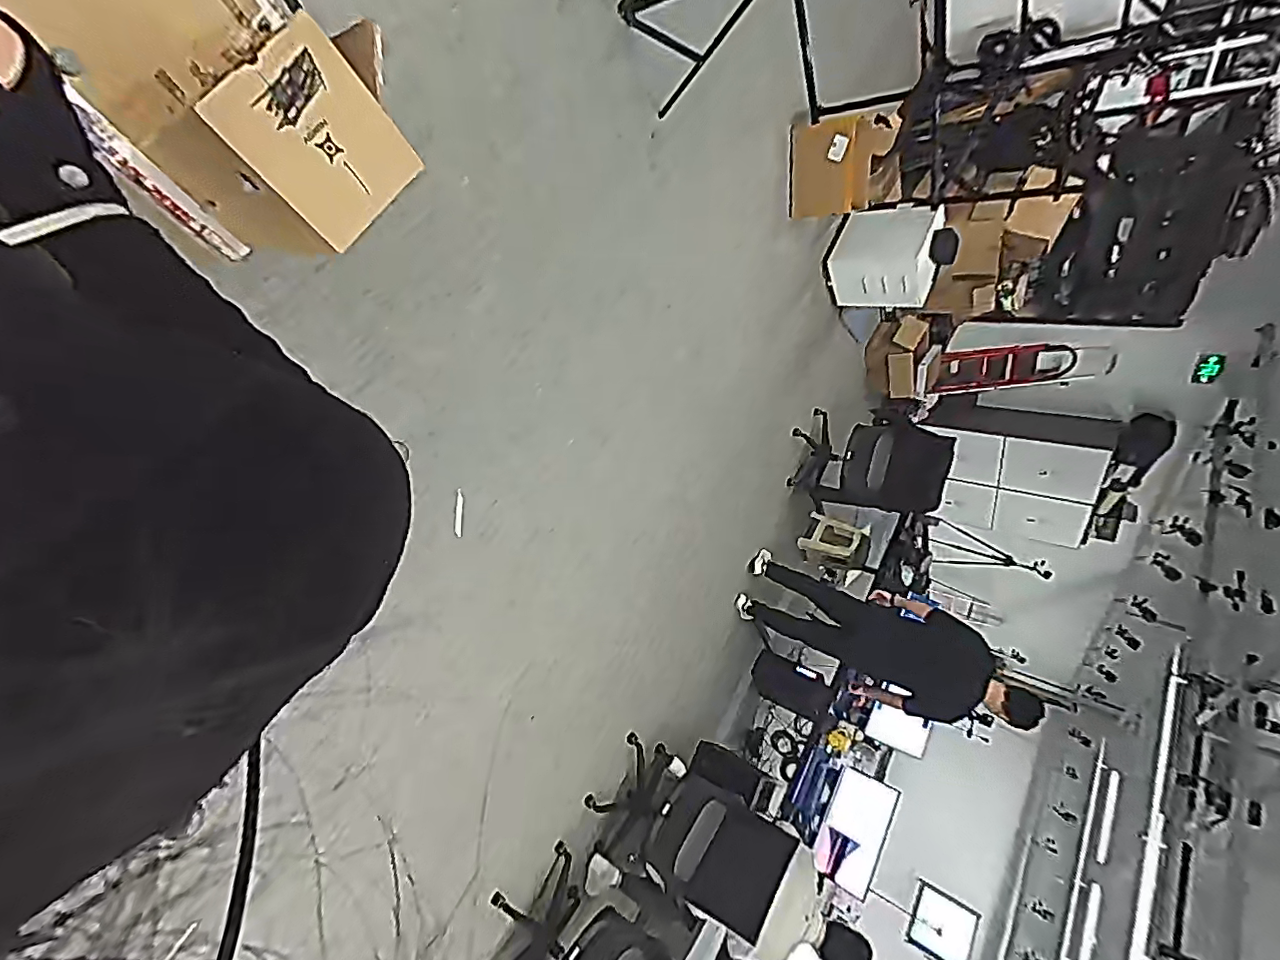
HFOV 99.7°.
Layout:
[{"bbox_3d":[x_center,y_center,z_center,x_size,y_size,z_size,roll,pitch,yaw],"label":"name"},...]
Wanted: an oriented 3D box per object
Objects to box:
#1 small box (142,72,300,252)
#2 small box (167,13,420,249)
[{"bbox_3d":[-0.539,-0.451,0.763,0.168,0.176,0.179,-58,141,-16],"label":"small box"},{"bbox_3d":[-0.420,-0.404,0.659,0.168,0.176,0.179,-58,140,-15],"label":"small box"}]
